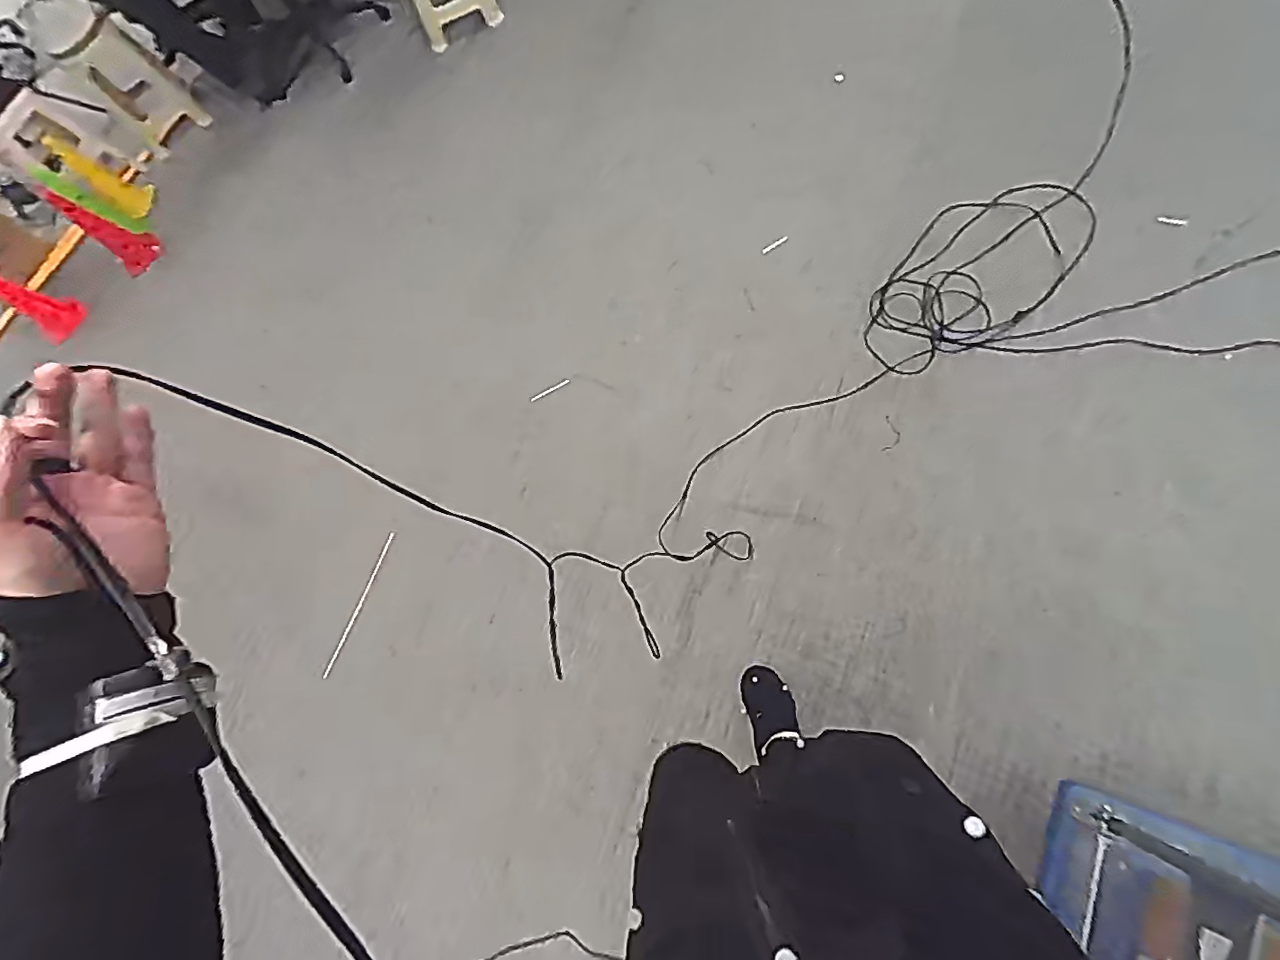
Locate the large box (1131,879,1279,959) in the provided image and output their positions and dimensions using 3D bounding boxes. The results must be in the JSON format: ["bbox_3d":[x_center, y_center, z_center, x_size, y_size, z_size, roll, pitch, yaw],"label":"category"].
[{"bbox_3d":[1.028,0.887,0.778,0.408,0.320,0.320,21,78,18],"label":"large box"}]
